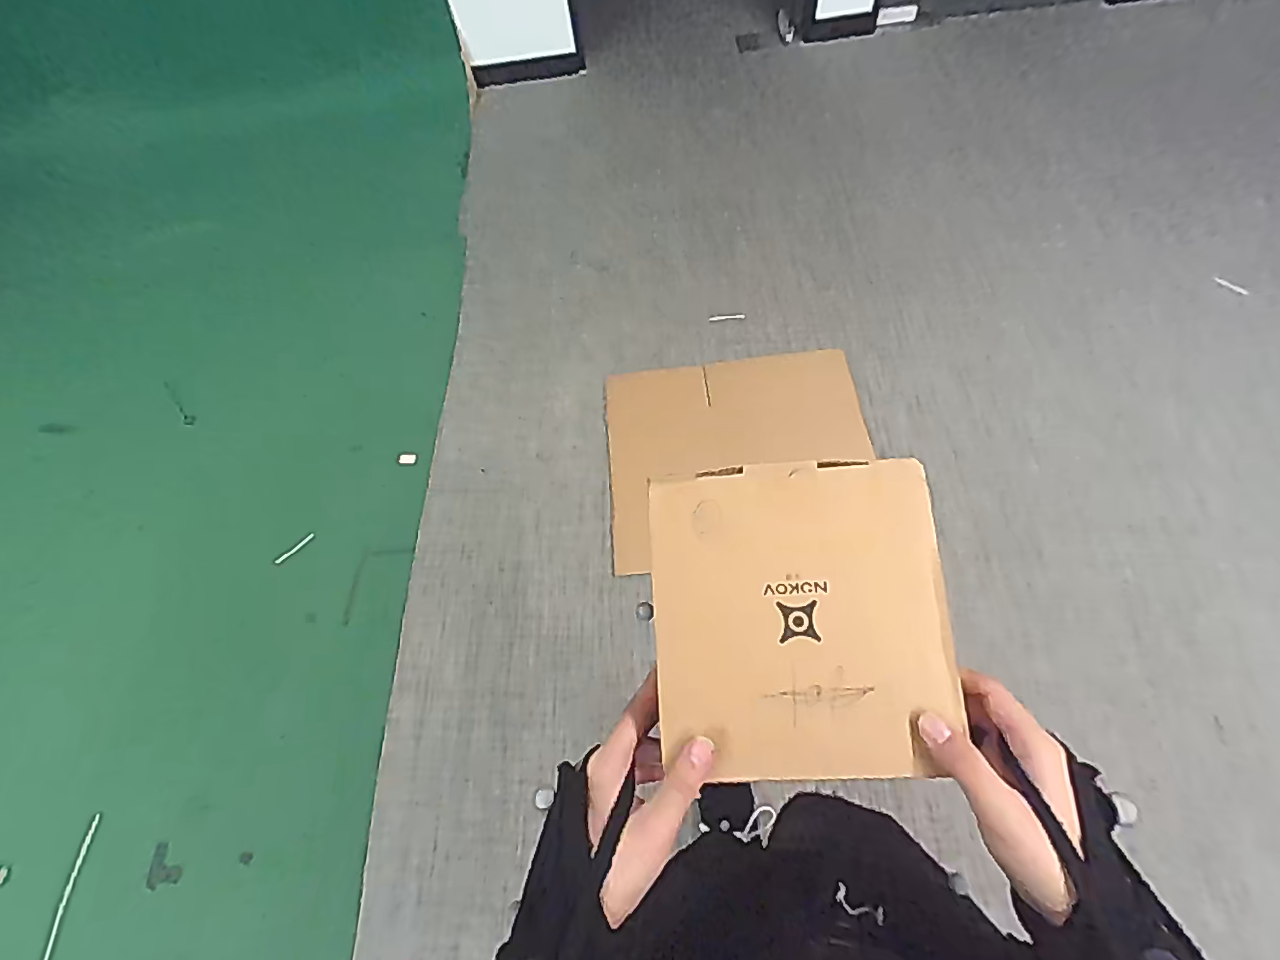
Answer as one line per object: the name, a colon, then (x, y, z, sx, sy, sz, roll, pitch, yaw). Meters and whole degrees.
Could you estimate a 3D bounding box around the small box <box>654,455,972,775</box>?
small box: (0.099, 0.090, 0.385, 0.168, 0.176, 0.179, -4, 78, 6)
